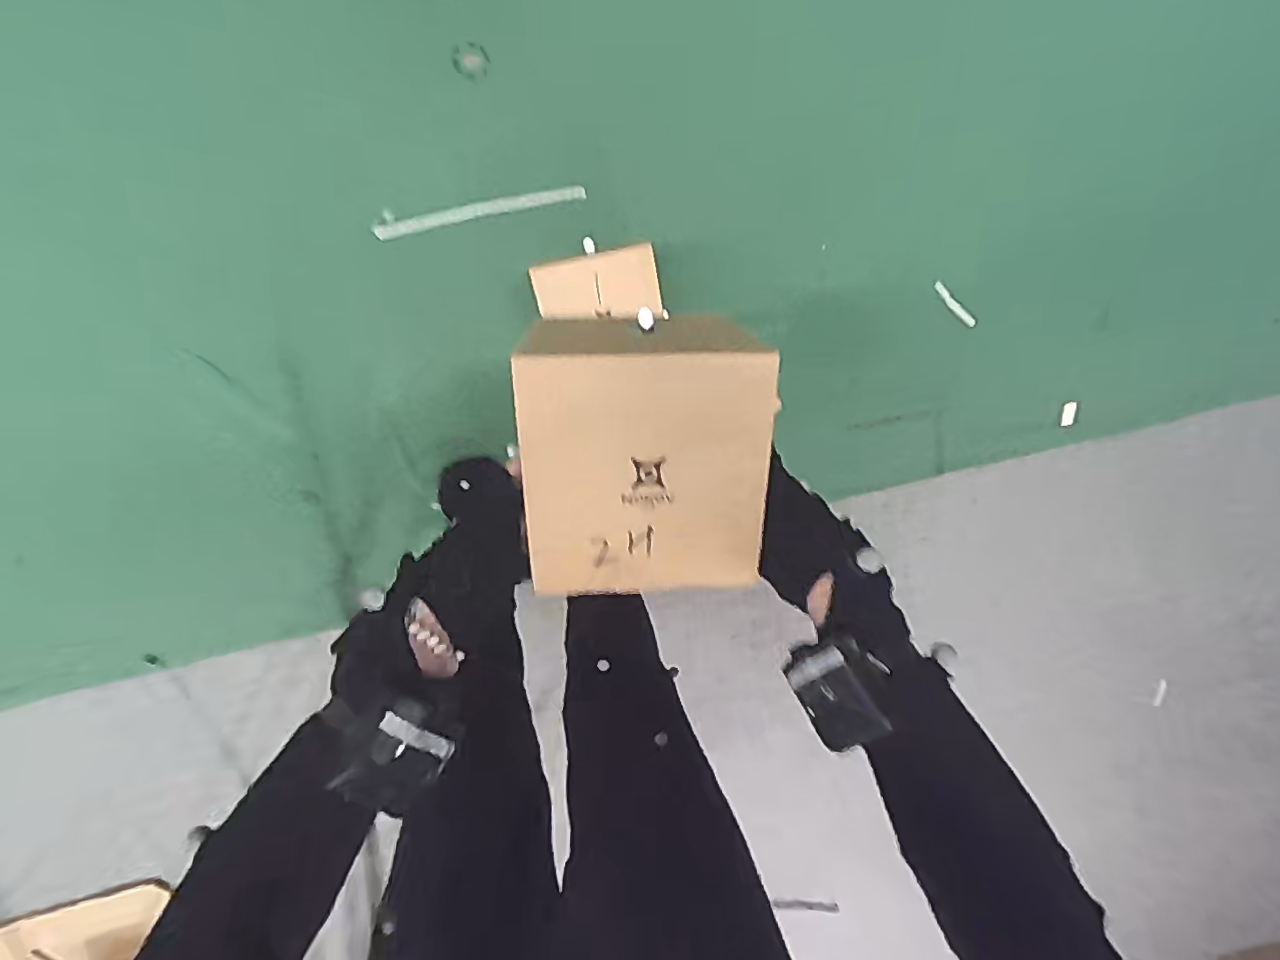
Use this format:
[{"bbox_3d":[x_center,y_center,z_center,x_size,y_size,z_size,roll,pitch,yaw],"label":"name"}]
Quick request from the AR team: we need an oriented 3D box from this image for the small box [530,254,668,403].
[{"bbox_3d":[-0.062,-0.235,0.818,0.168,0.176,0.179,-13,114,-3],"label":"small box"}]
